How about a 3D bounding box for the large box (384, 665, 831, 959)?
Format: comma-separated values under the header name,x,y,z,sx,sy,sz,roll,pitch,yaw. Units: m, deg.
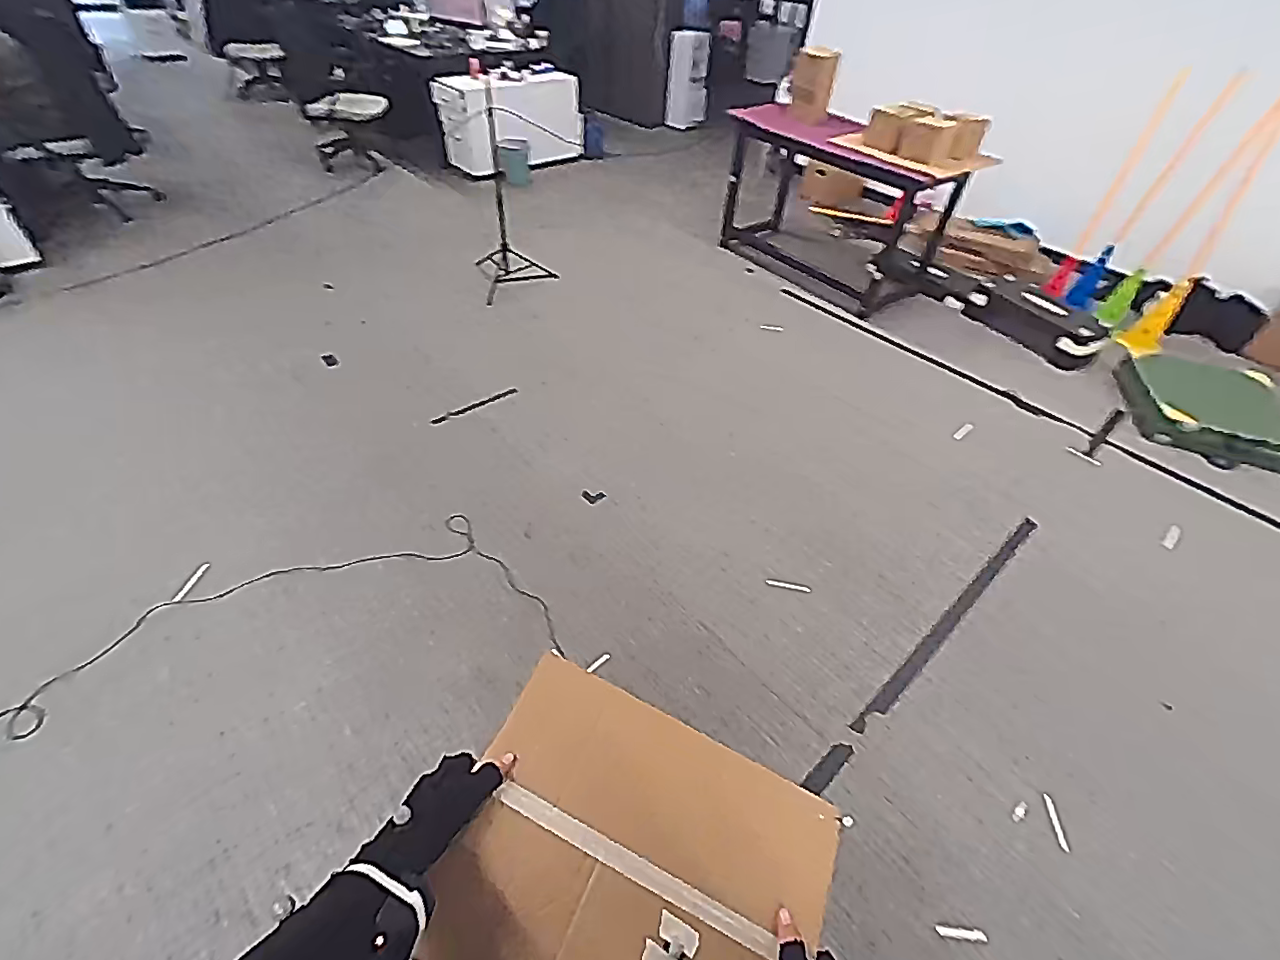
name,x,y,z,sx,sy,sz,roll,pitch,yaw
large box,-0.034,0.508,0.699,0.408,0.320,0.320,25,54,8
